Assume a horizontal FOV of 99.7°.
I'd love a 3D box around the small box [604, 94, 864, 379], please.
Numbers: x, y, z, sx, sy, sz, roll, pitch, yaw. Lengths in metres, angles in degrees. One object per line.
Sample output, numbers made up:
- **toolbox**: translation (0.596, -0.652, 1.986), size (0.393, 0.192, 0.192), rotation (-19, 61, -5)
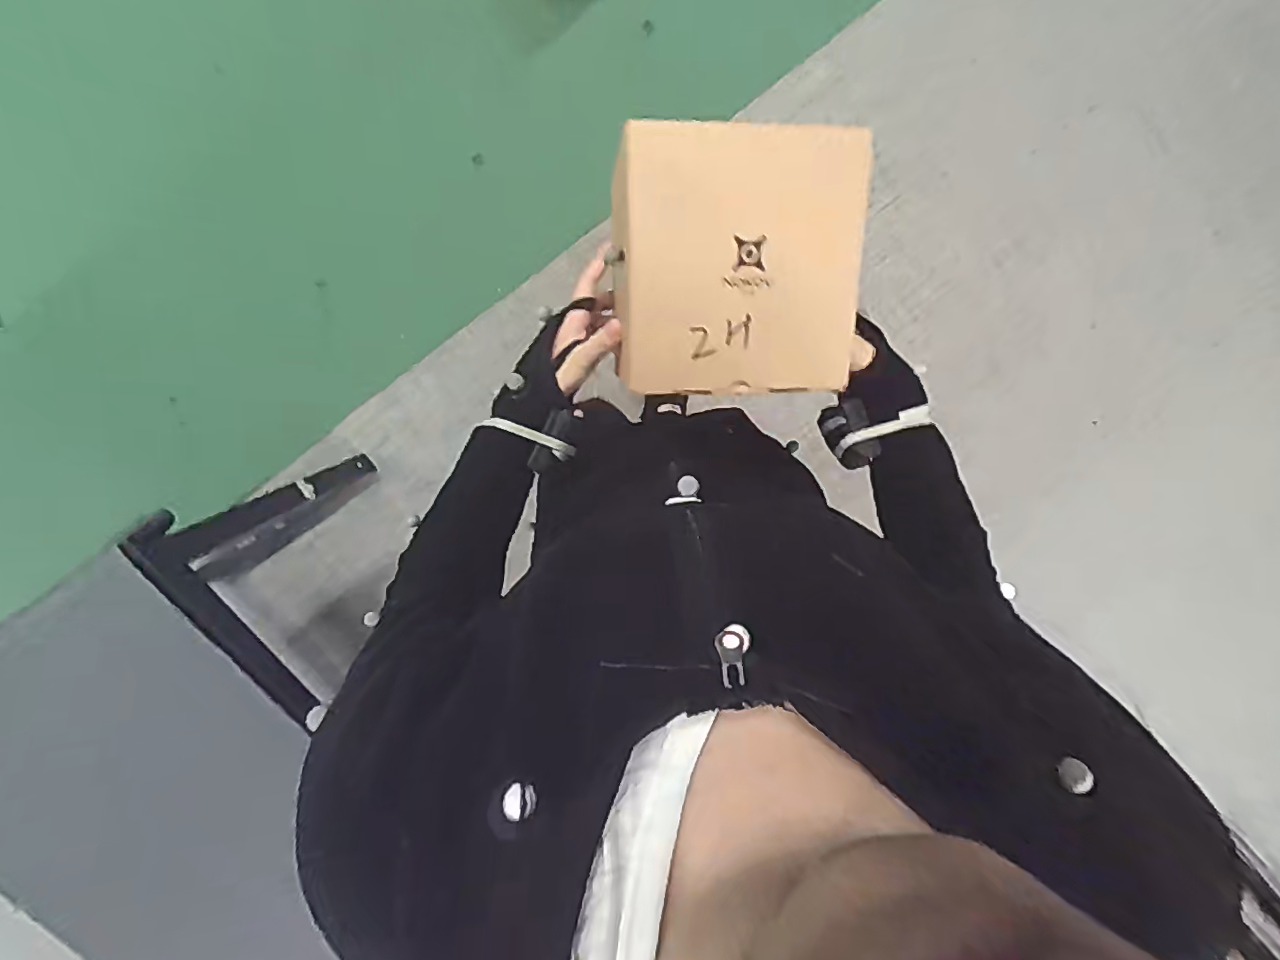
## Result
- **small box**: translation (0.057, -0.178, 0.439), size (0.168, 0.176, 0.179), rotation (-3, 106, -5)
